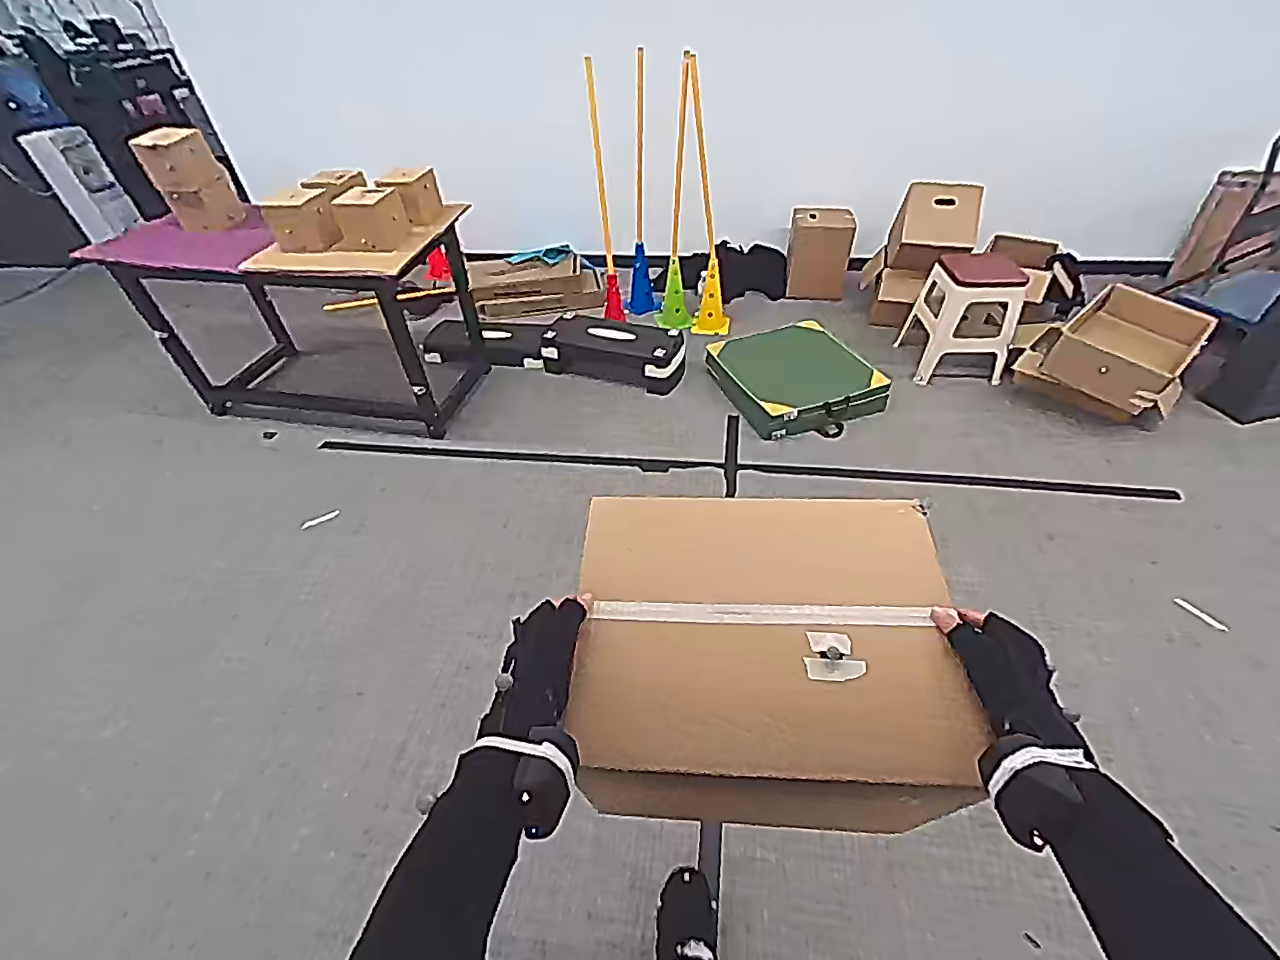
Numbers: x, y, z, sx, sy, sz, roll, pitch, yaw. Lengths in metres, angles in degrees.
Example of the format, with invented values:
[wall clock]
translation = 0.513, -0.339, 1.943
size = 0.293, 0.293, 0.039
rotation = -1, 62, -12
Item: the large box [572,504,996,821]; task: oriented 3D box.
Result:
[large box]
translation = 0.144, 0.244, 0.714
size = 0.408, 0.320, 0.320
rotation = 0, 51, 5
